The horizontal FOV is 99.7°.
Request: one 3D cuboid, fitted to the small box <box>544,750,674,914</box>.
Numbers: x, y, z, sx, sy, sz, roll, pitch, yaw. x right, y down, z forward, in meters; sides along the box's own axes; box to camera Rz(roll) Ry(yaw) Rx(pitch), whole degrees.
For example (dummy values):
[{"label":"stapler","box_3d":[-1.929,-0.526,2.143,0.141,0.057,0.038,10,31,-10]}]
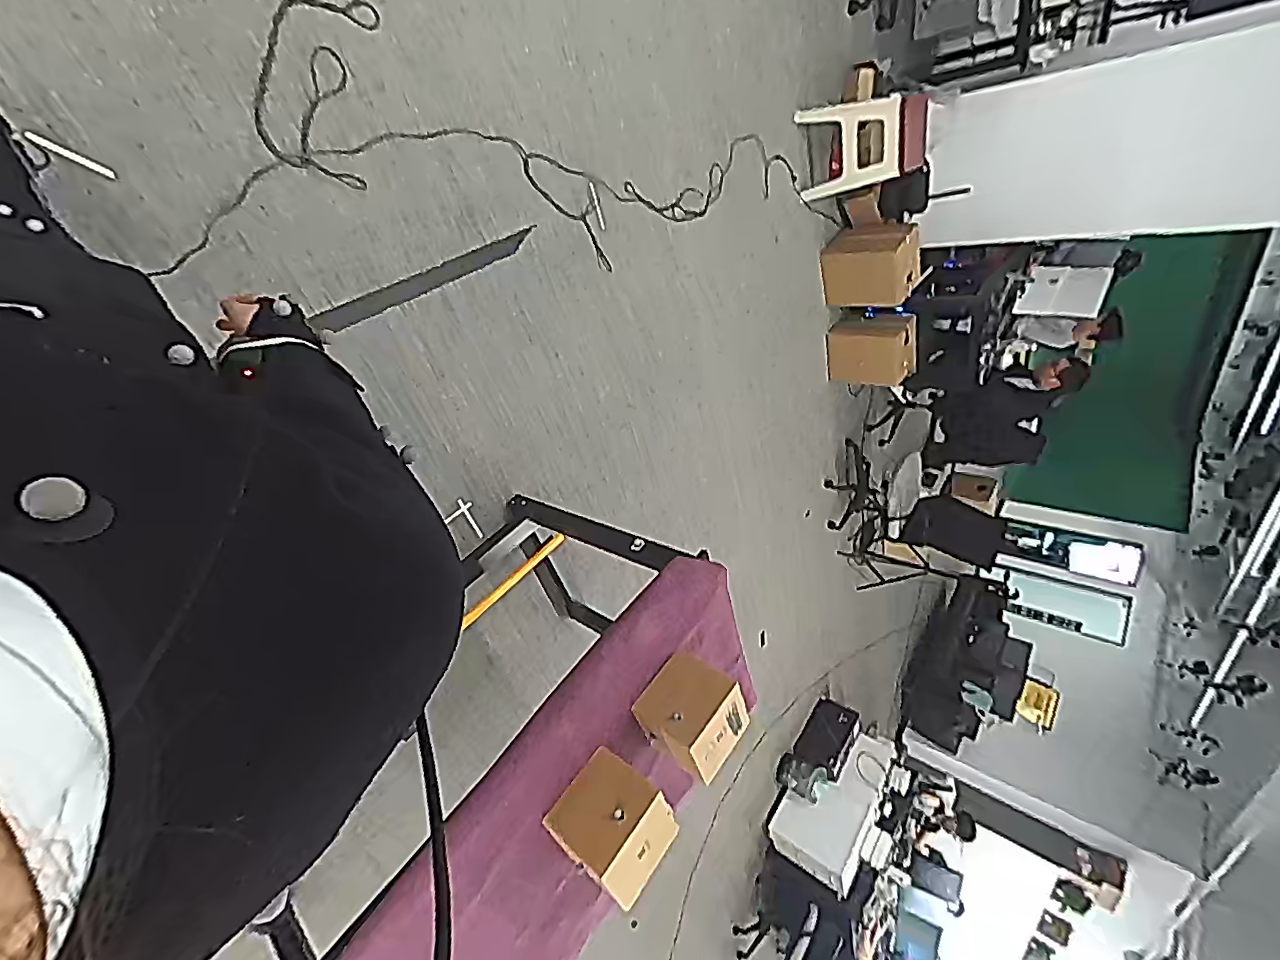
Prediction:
[{"label":"small box","box_3d":[-0.064,0.677,1.056,0.179,0.176,0.168,-43,131,-33]}]
